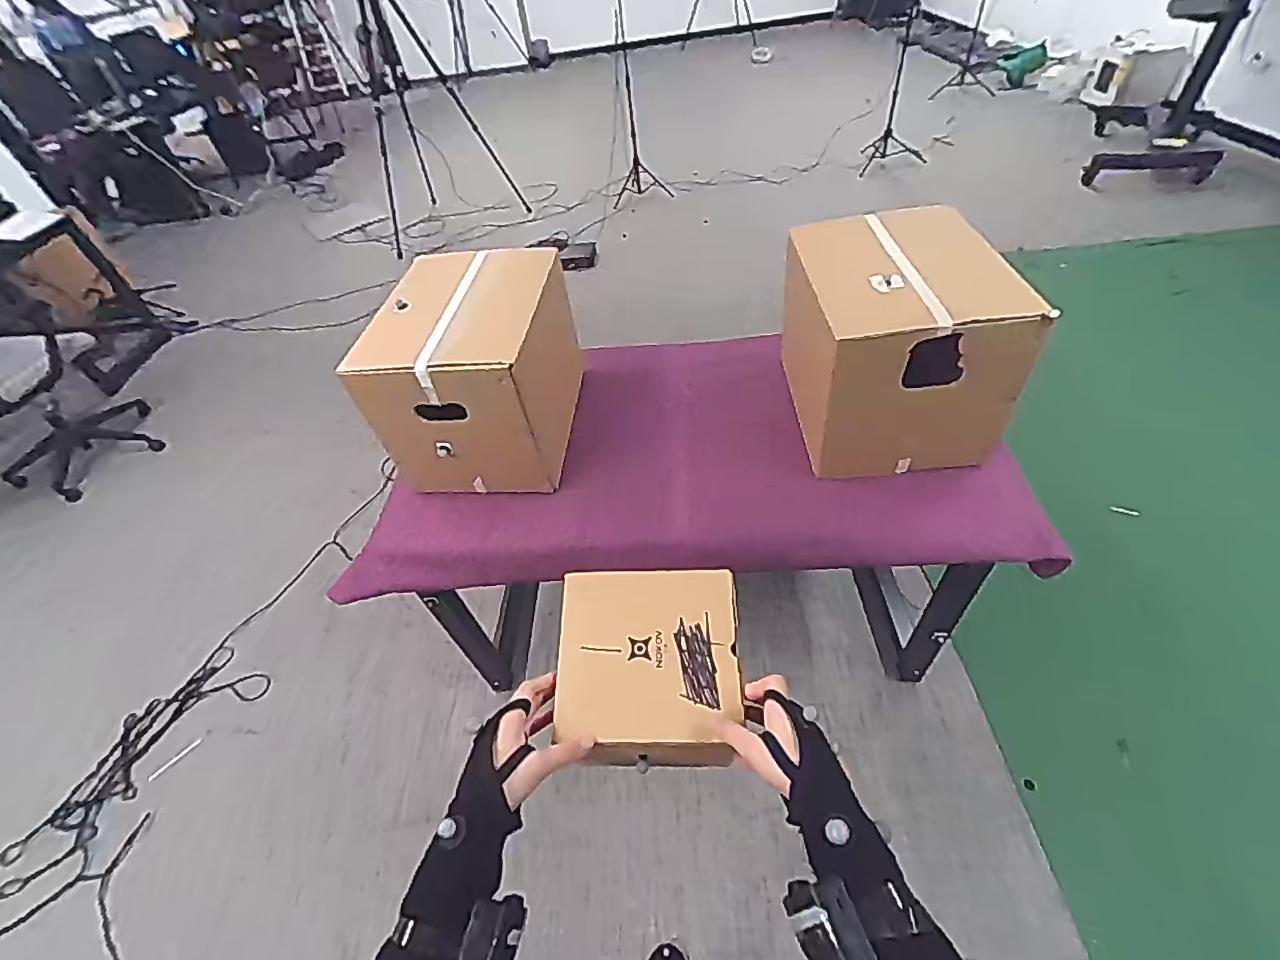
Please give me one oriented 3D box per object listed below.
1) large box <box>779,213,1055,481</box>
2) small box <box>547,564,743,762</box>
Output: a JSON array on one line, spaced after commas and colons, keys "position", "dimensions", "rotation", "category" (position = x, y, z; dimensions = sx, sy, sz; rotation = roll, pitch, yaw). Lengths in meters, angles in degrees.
[{"position": [0.464, -0.256, 1.032], "dimensions": [0.320, 0.320, 0.408], "rotation": [-6, 47, 6], "category": "large box"}, {"position": [0.009, 0.202, 0.586], "dimensions": [0.179, 0.176, 0.168], "rotation": [-1, 55, 3], "category": "small box"}]
